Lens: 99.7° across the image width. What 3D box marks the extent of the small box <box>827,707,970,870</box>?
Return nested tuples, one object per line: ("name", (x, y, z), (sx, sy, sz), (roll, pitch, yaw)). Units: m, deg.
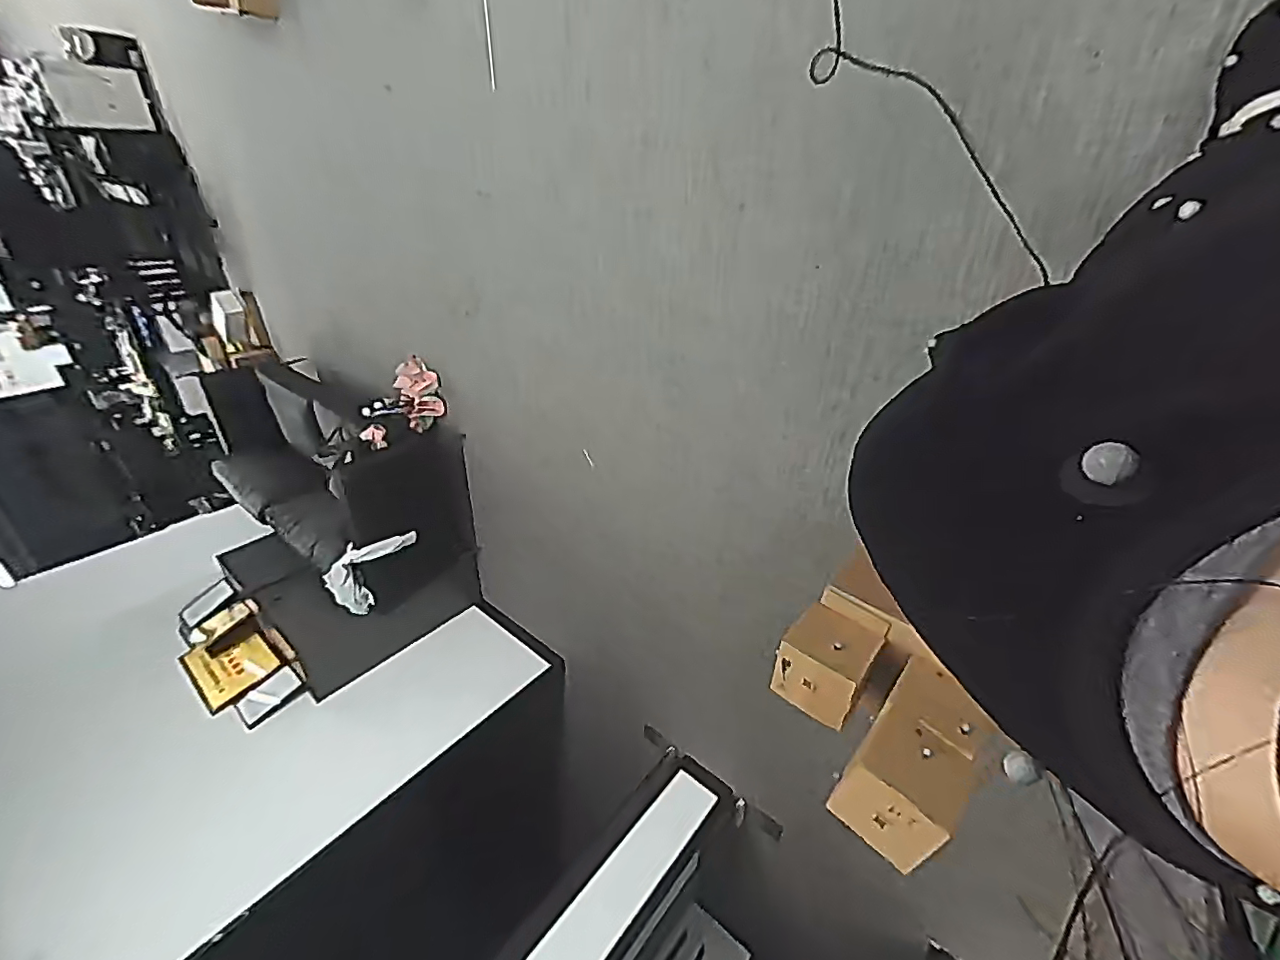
("small box", (0.493, 0.579, 1.028), (0.168, 0.176, 0.179), (34, 131, 27))
